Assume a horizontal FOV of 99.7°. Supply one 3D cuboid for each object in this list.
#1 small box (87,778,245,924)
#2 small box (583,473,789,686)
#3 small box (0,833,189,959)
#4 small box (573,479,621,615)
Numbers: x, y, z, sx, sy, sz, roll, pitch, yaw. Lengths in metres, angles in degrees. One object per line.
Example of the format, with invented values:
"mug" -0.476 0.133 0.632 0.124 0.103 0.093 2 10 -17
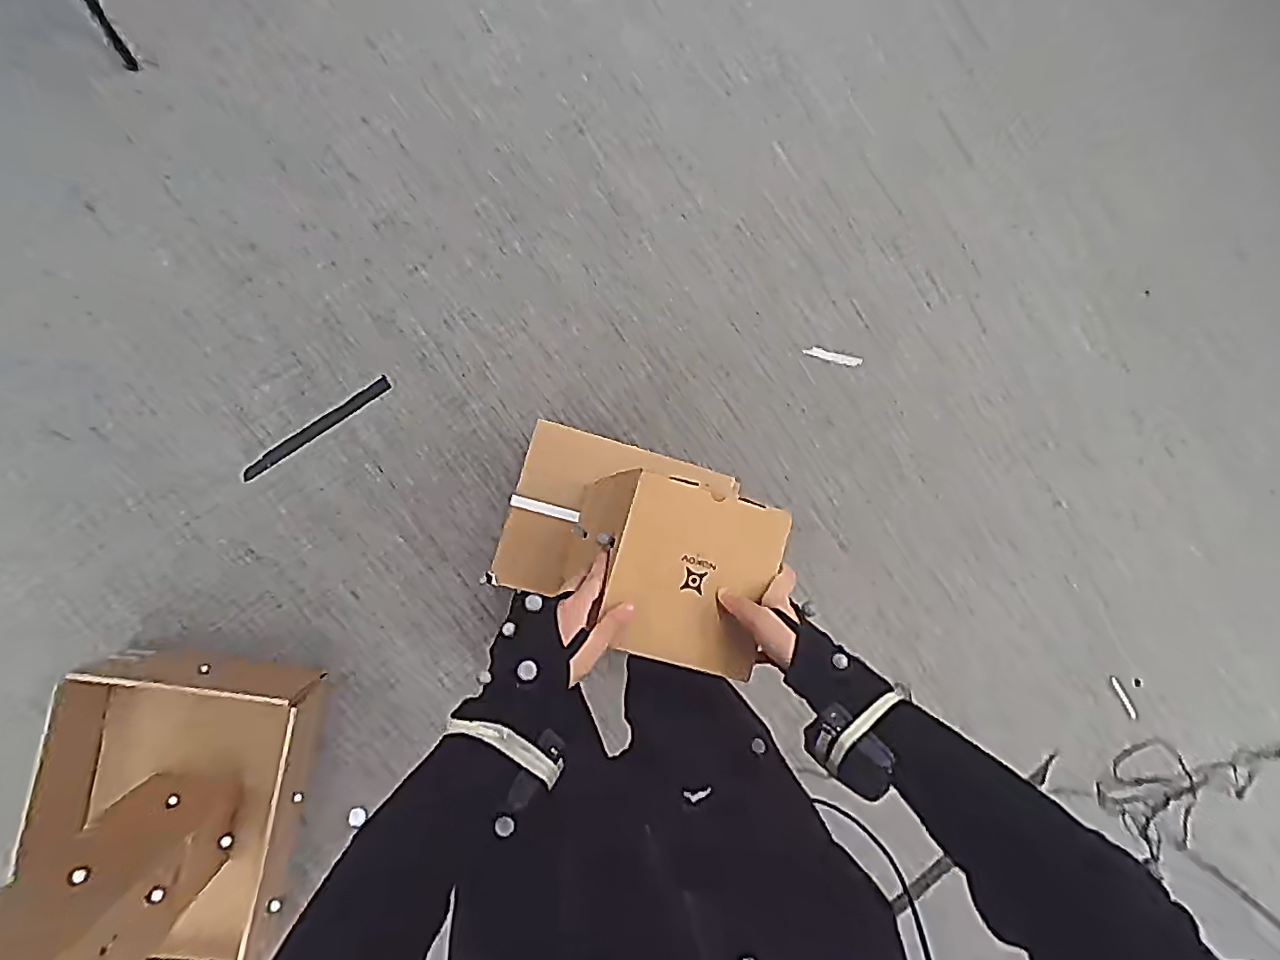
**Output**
"small box" -0.906 0.697 1.031 0.179 0.176 0.168 12 88 -11
"small box" 0.038 0.102 0.608 0.168 0.176 0.179 17 85 -10
"small box" -0.881 0.700 0.872 0.179 0.176 0.168 7 87 -9
"small box" 0.005 0.104 0.767 0.168 0.176 0.179 16 86 -10
